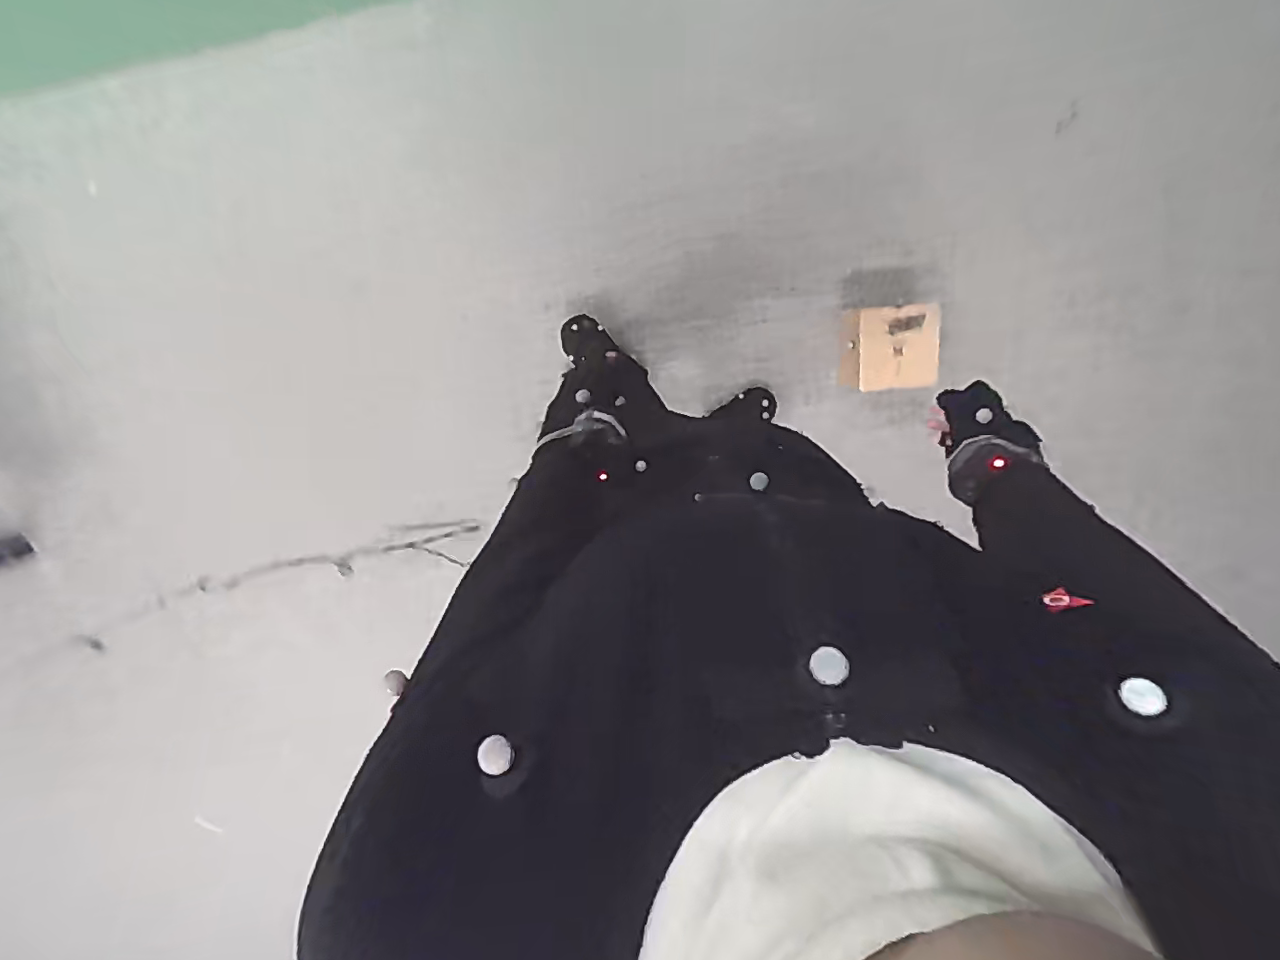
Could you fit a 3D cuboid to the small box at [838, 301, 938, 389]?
[{"bbox_3d":[0.559,-0.309,1.242,0.168,0.176,0.179,-4,105,6],"label":"small box"}]
